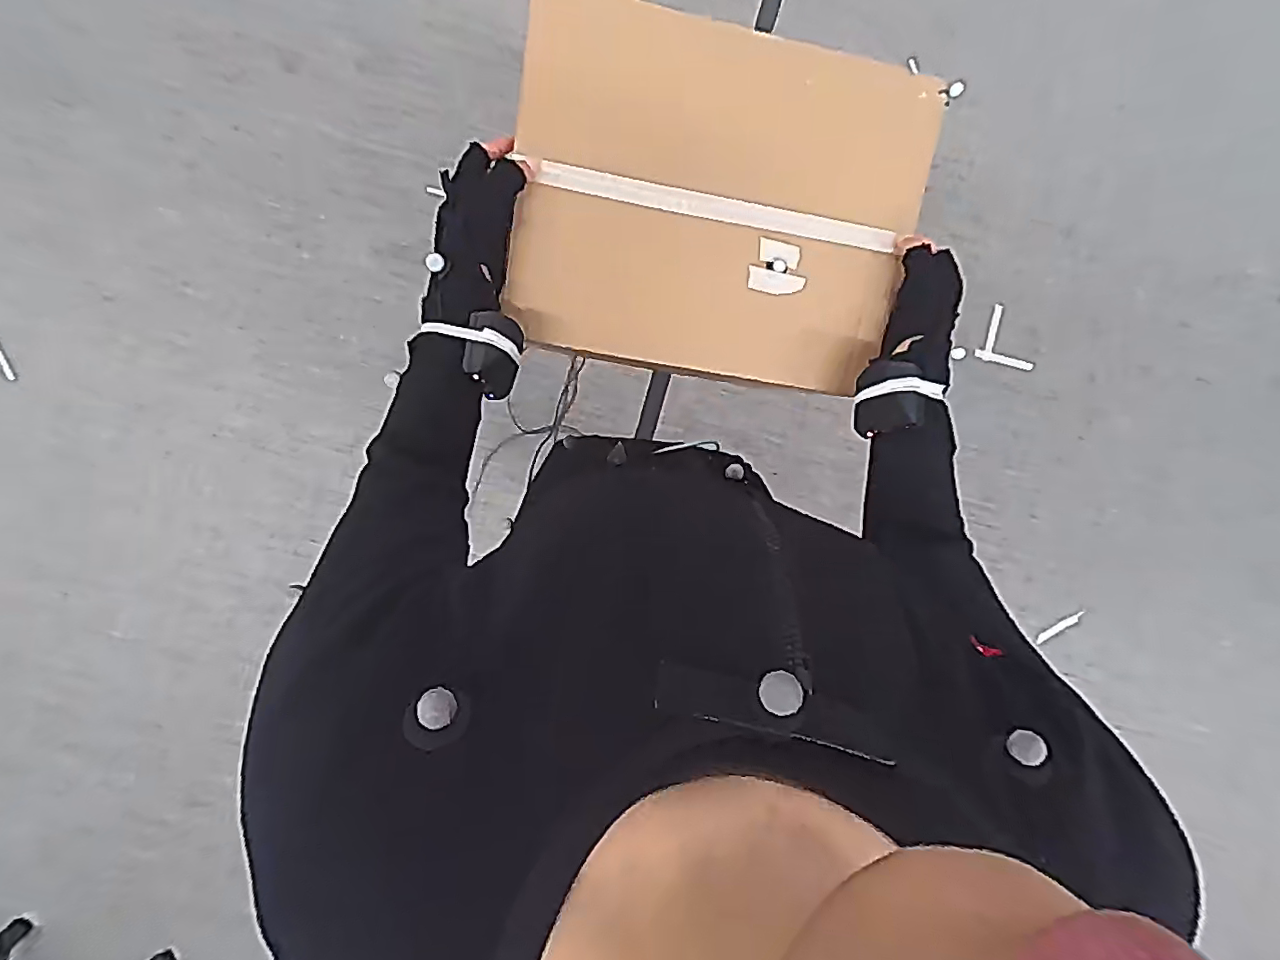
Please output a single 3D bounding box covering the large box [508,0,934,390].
[{"bbox_3d":[0.064,-0.303,0.691,0.408,0.320,0.320,8,102,-8],"label":"large box"}]
